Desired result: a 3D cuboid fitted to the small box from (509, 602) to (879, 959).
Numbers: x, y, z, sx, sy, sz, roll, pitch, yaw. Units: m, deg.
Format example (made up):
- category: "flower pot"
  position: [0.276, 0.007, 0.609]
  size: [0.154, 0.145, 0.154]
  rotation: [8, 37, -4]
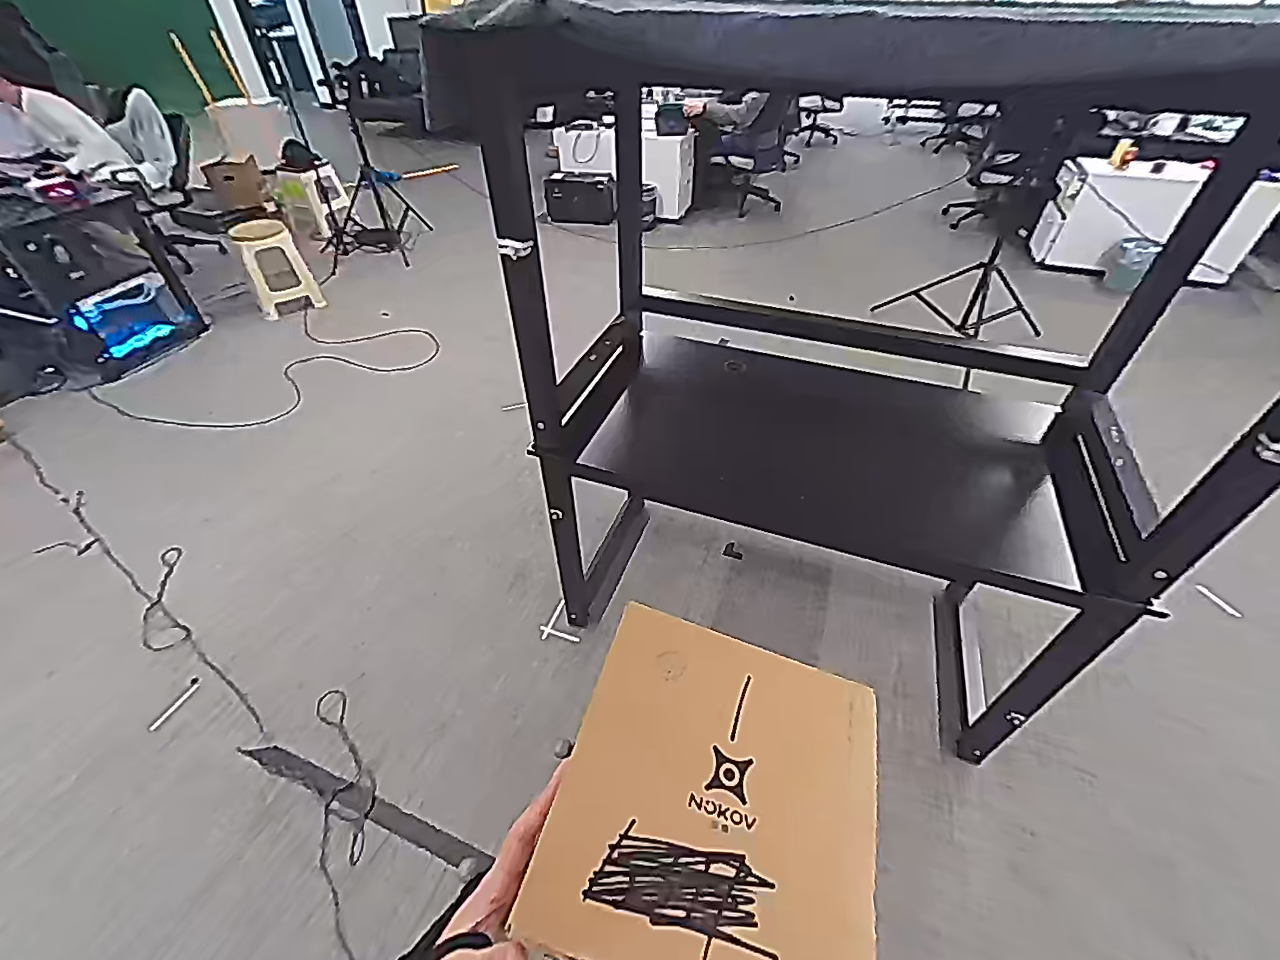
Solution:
- category: "small box"
  position: [0.032, 0.216, 0.345]
  size: [0.168, 0.176, 0.179]
  rotation: [19, 48, 5]
